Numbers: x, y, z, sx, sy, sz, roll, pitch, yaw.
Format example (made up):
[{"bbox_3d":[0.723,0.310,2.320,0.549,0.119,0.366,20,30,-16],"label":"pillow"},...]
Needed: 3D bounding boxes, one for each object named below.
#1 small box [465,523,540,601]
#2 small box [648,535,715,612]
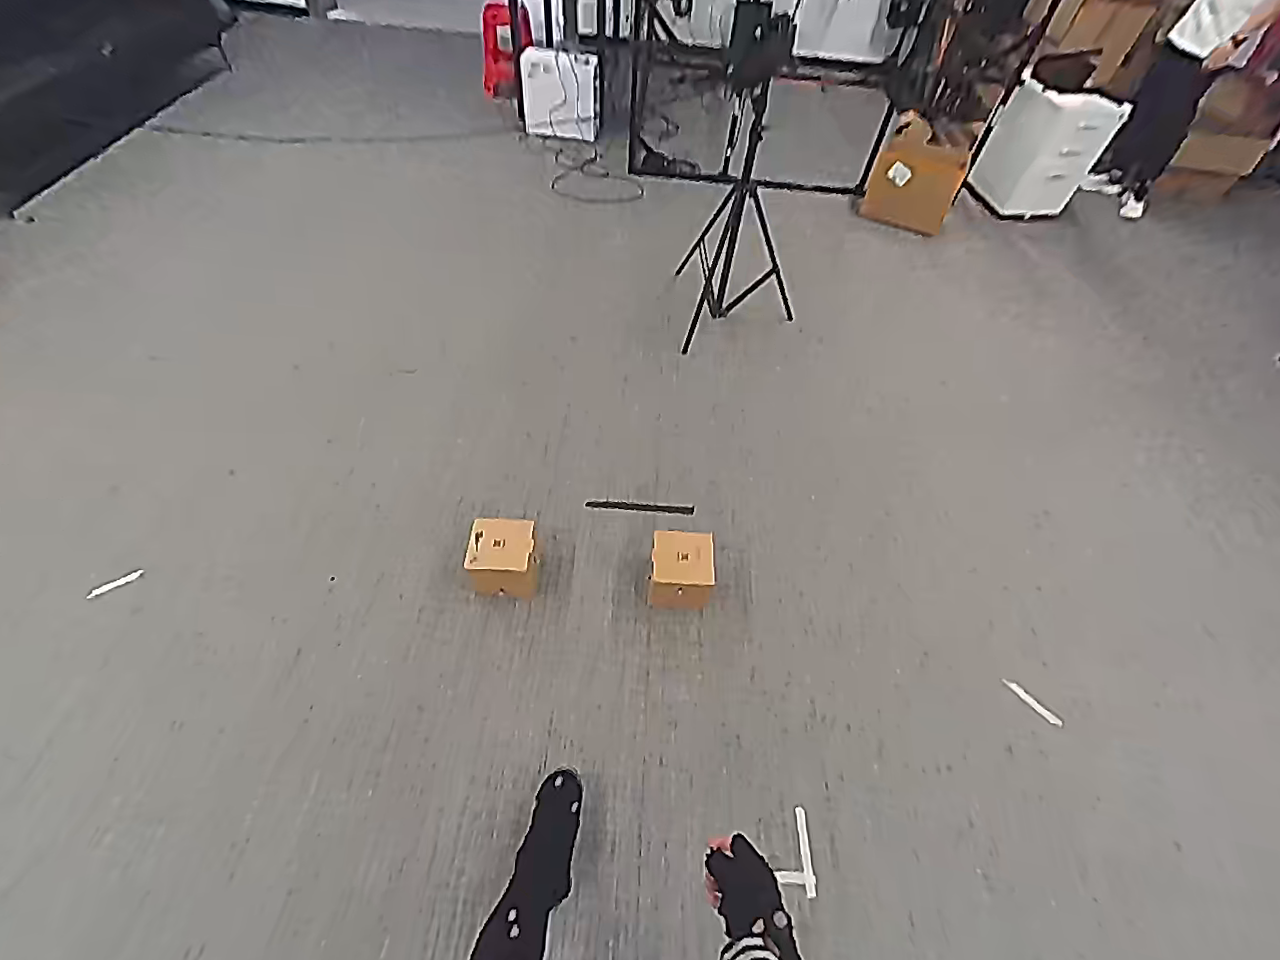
[{"bbox_3d":[-0.393,0.244,1.578,0.179,0.176,0.168,4,52,-2],"label":"small box"},{"bbox_3d":[0.118,0.278,1.593,0.179,0.176,0.168,4,54,-3],"label":"small box"}]
